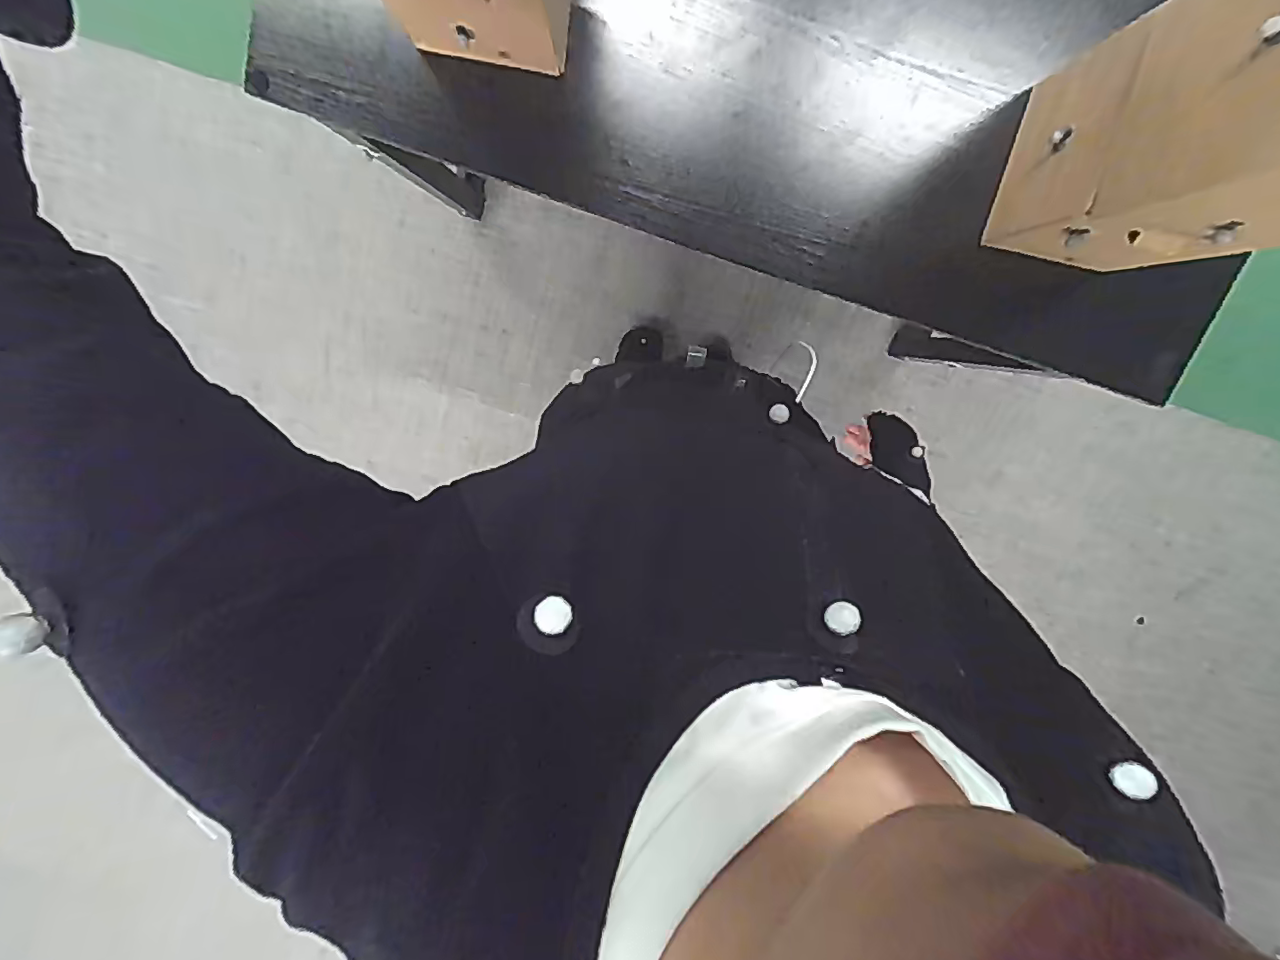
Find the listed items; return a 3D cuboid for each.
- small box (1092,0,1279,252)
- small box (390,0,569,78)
[{"bbox_3d":[0.509,-0.292,0.414,0.168,0.176,0.179,9,105,-3],"label":"small box"},{"bbox_3d":[-0.156,-0.530,0.513,0.168,0.176,0.179,8,106,-4],"label":"small box"}]
